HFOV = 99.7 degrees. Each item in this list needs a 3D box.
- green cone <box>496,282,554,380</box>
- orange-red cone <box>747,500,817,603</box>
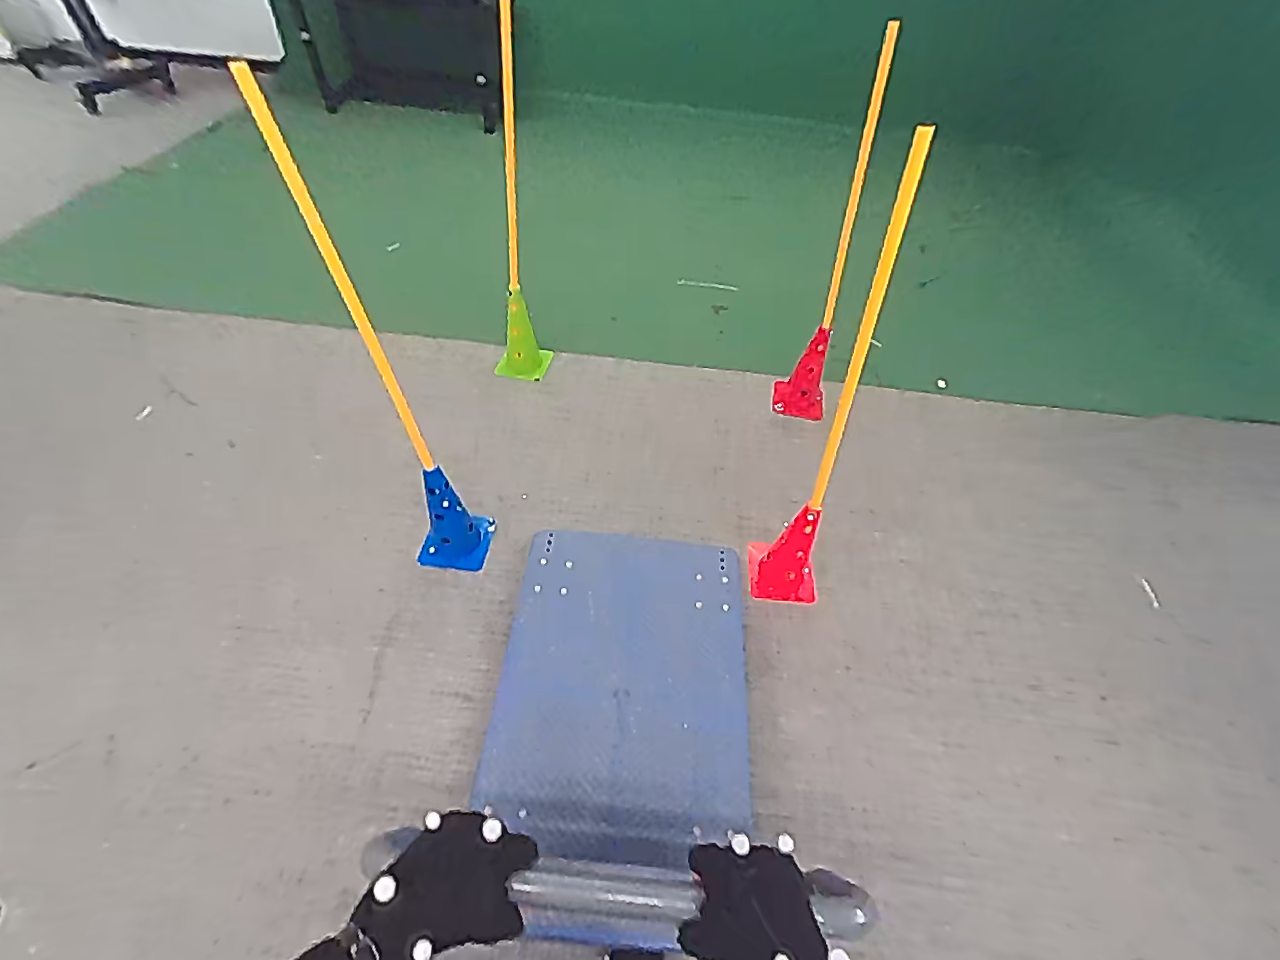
[{"bbox_3d":[-0.466,-0.600,2.116,0.202,0.368,0.200,10,50,5],"label":"green cone"},{"bbox_3d":[0.441,0.181,1.561,0.199,0.360,0.198,6,50,2],"label":"orange-red cone"}]
